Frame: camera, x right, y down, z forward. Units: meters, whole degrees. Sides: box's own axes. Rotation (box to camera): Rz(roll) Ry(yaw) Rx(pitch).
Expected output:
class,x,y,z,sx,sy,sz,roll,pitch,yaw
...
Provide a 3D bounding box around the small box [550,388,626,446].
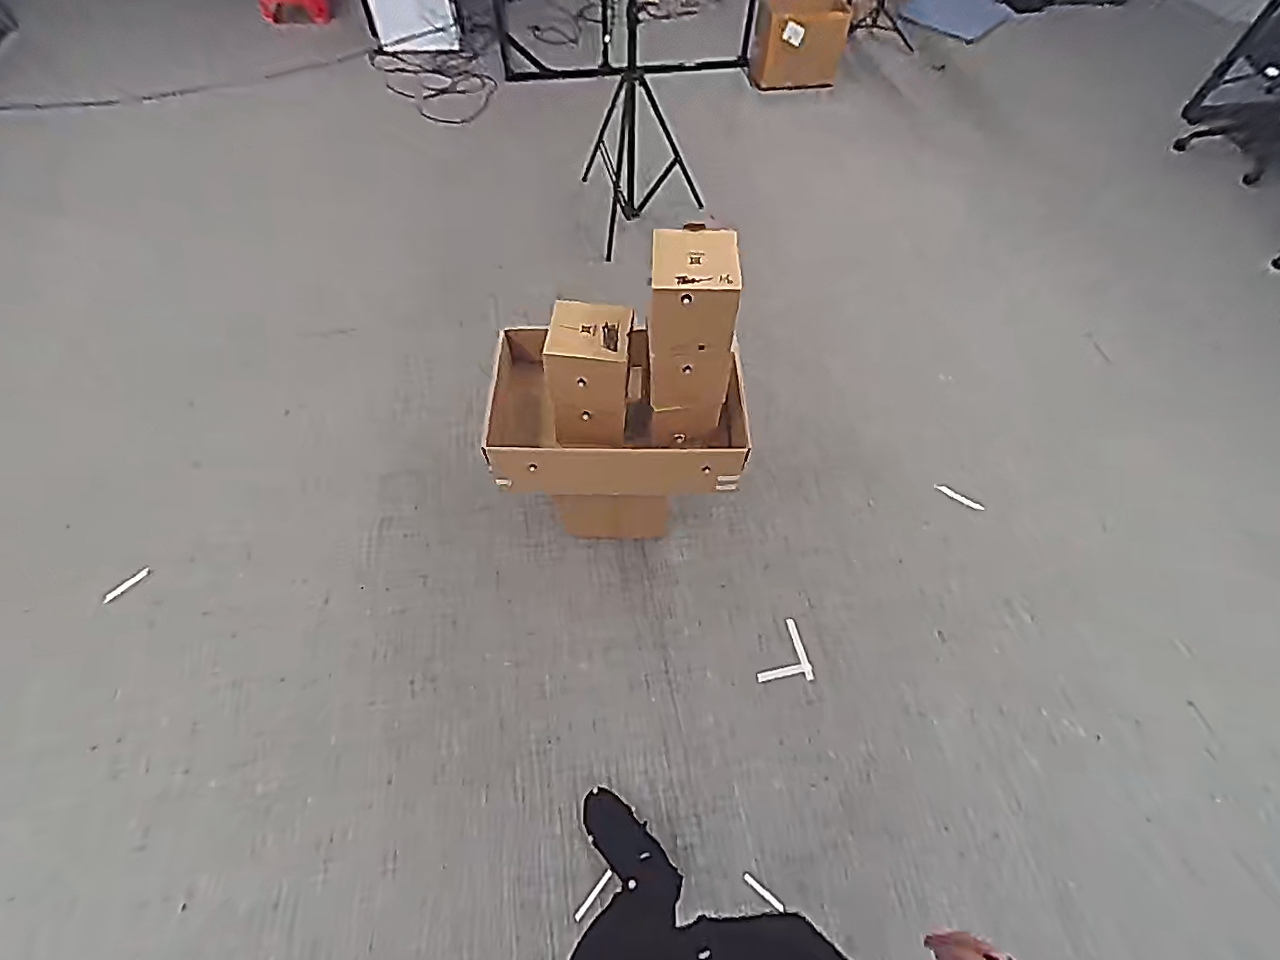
class,x,y,z,sx,sy,sz,roll,pitch,yaw
small box,-0.125,-0.197,1.353,0.179,0.176,0.168,1,59,-2

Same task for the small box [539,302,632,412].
class,x,y,z,sx,sy,sz,roll,pitch,yaw
small box,-0.114,-0.269,1.205,0.179,0.176,0.168,6,59,1

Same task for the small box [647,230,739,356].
class,x,y,z,sx,sy,sz,roll,pitch,yaw
small box,0.099,-0.370,1.074,0.168,0.176,0.179,1,58,2
